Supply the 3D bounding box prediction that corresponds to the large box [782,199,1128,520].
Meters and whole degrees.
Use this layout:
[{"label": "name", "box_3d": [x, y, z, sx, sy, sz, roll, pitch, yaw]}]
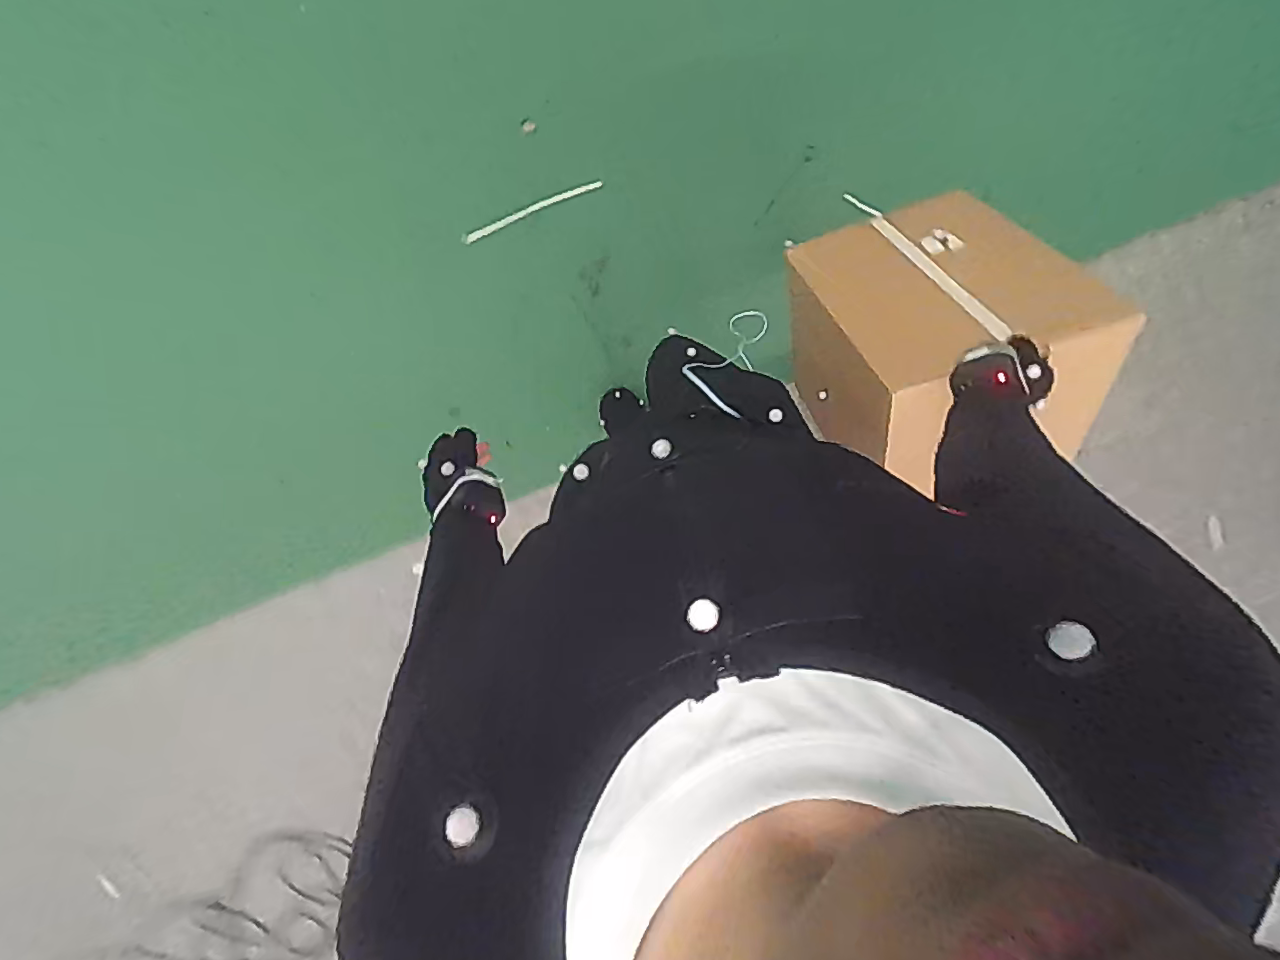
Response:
[{"label": "large box", "box_3d": [0.471, -0.206, 0.920, 0.320, 0.408, 0.320, -17, 137, 5]}]
